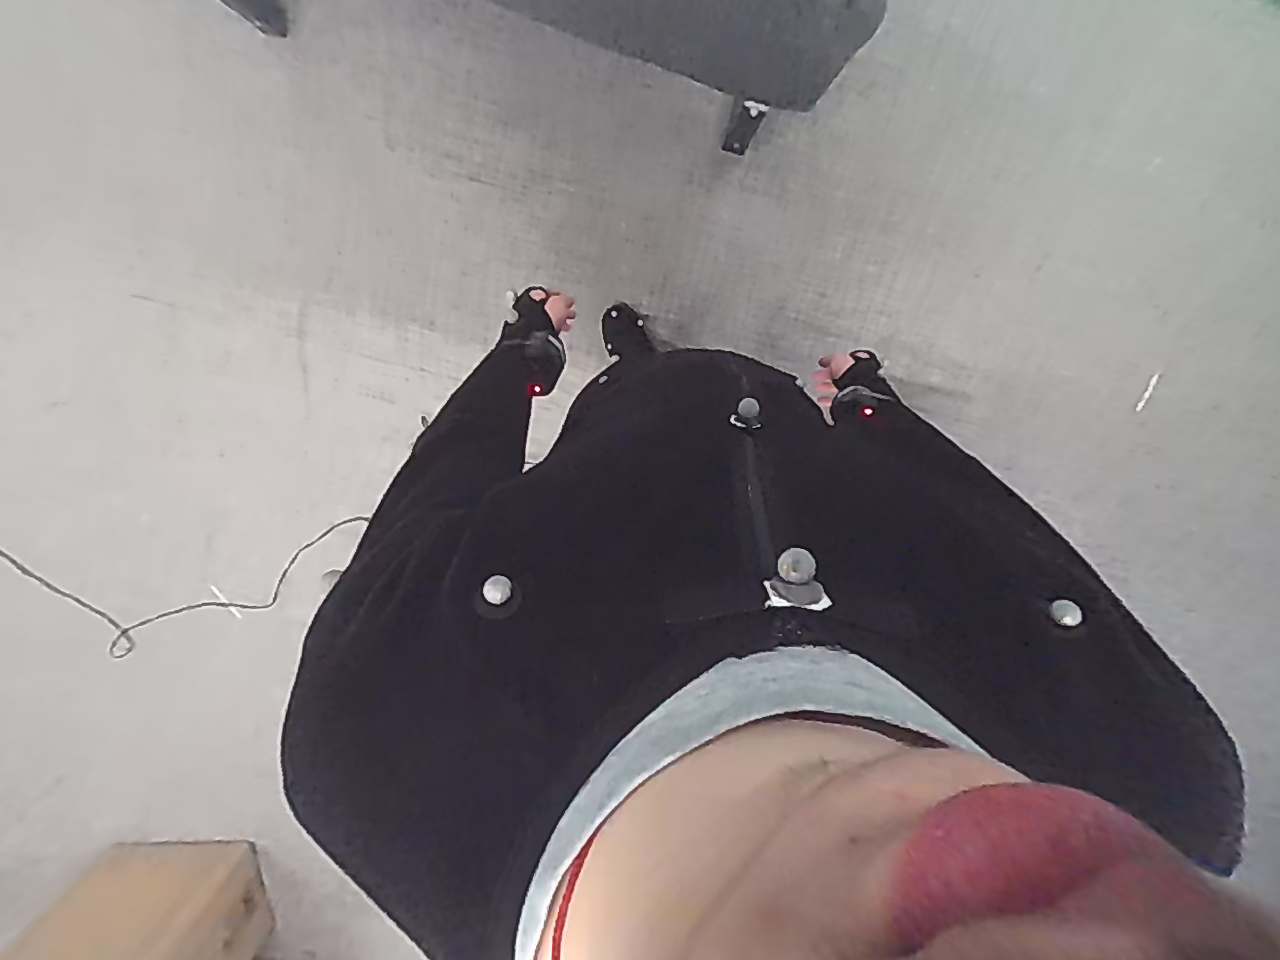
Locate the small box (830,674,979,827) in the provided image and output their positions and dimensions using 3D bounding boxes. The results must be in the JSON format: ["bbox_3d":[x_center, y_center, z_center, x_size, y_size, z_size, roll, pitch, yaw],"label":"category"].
[{"bbox_3d":[0.482,0.503,1.019,0.168,0.176,0.179,14,105,-6],"label":"small box"}]
